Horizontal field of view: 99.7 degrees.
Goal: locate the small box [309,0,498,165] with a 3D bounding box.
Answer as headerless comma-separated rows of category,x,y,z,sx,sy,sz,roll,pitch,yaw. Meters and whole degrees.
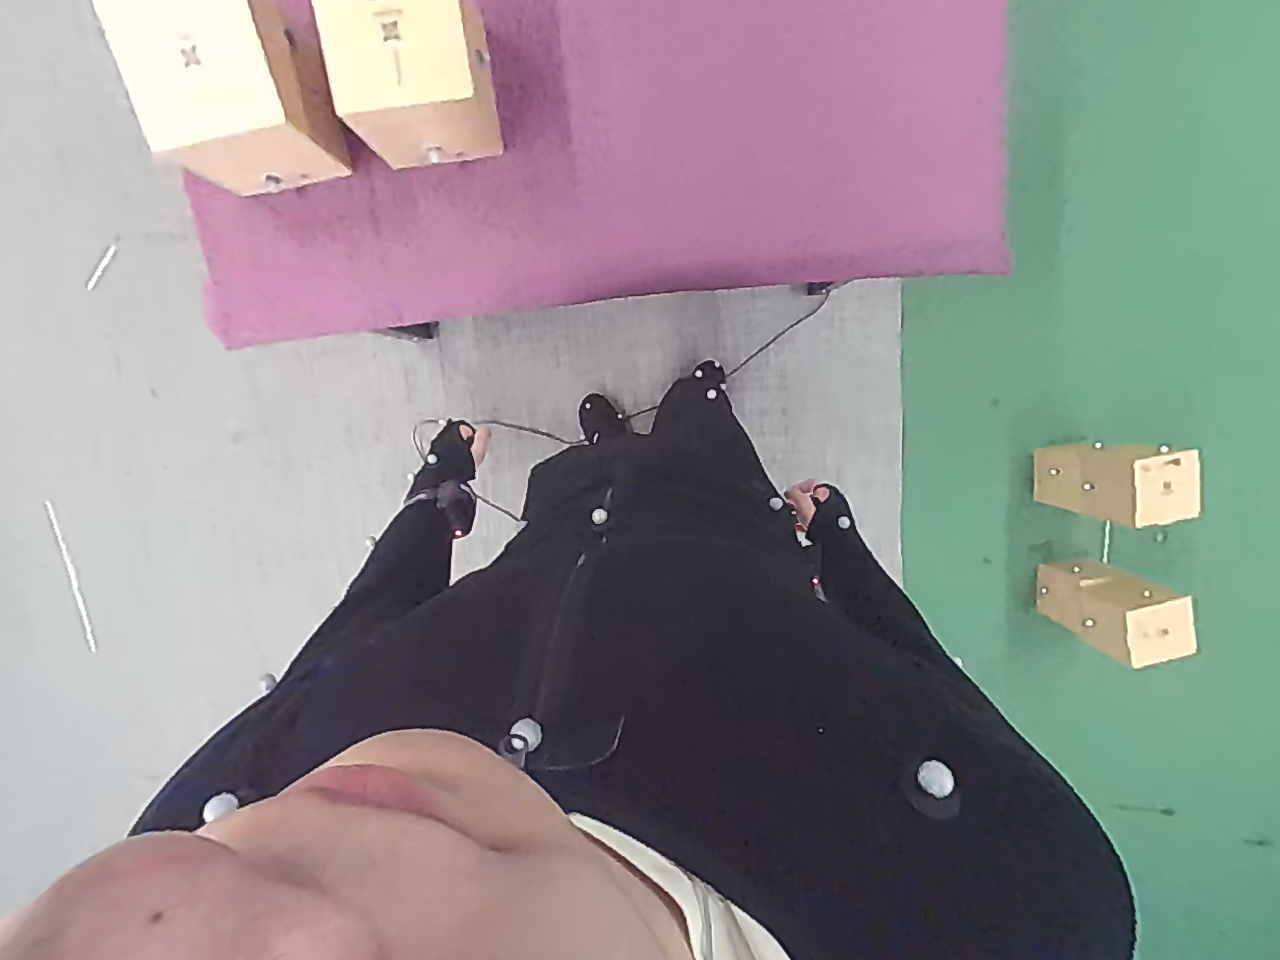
small box,-0.294,-0.540,0.698,0.168,0.176,0.179,-8,102,0

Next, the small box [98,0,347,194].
small box,-0.519,-0.502,0.700,0.168,0.176,0.179,-12,101,1

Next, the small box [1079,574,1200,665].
small box,1.352,0.371,1.471,0.179,0.176,0.168,-15,100,2

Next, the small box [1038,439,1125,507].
small box,1.295,-0.024,1.566,0.179,0.176,0.168,-7,100,-1

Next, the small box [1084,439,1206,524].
small box,1.300,0.000,1.404,0.168,0.176,0.179,-10,100,0
